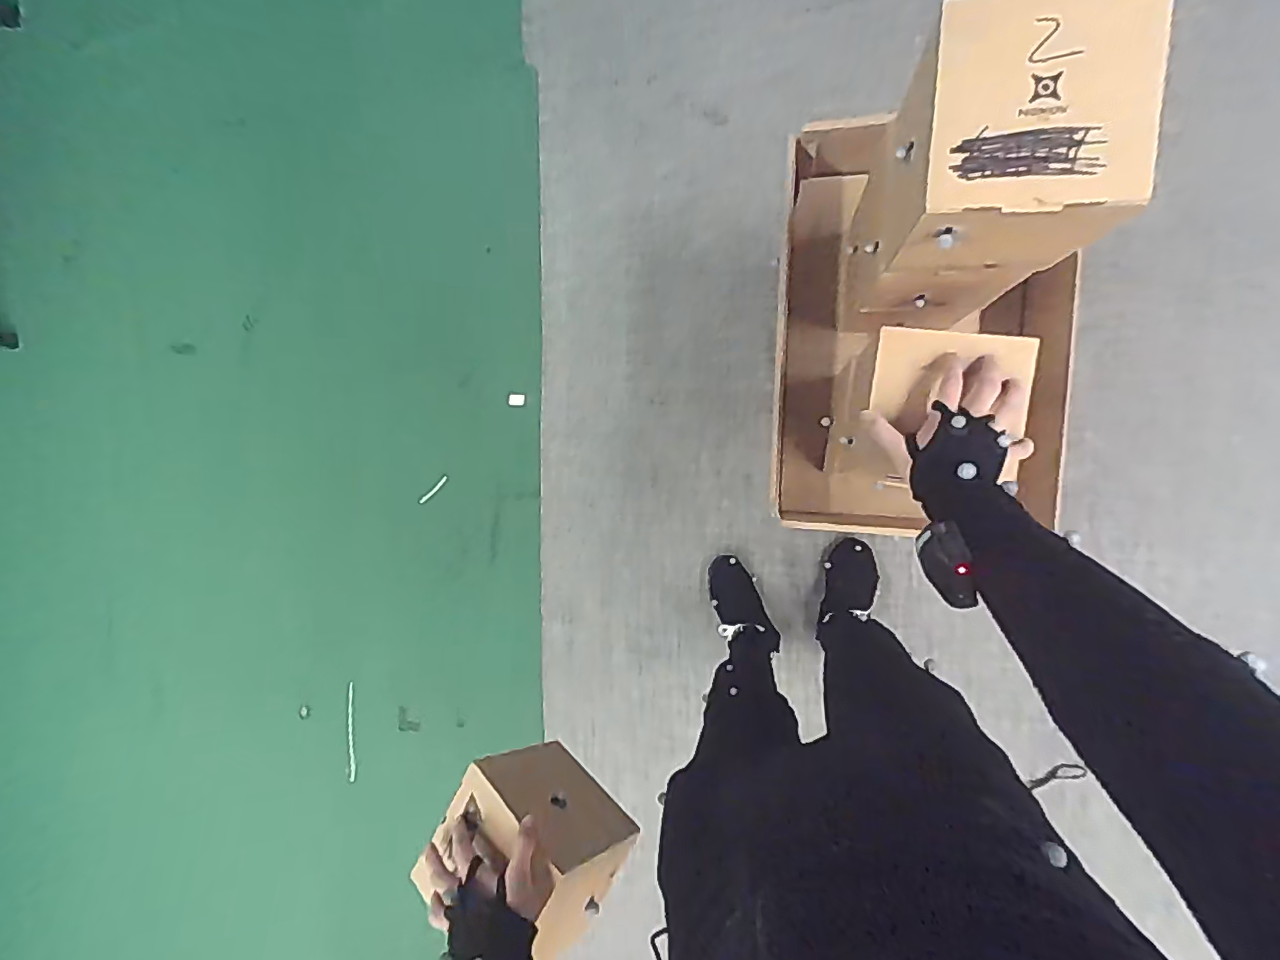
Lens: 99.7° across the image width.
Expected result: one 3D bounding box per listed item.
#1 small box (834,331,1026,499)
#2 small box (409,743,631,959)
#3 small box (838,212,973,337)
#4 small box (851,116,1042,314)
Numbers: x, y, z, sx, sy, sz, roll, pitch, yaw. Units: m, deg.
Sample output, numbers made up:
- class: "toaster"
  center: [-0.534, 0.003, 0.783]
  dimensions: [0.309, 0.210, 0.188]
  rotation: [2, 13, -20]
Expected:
- class: "small box"
  center: [0.355, -0.077, 0.698]
  dimensions: [0.168, 0.176, 0.179]
  rotation: [9, 92, 12]
- class: "small box"
  center: [-0.146, 0.461, 0.683]
  dimensions: [0.179, 0.176, 0.168]
  rotation: [30, 93, 33]
- class: "small box"
  center: [0.409, -0.330, 0.846]
  dimensions: [0.168, 0.176, 0.179]
  rotation: [3, 94, 13]
- class: "small box"
  center: [0.372, -0.320, 0.689]
  dimensions: [0.168, 0.176, 0.179]
  rotation: [3, 94, 12]
